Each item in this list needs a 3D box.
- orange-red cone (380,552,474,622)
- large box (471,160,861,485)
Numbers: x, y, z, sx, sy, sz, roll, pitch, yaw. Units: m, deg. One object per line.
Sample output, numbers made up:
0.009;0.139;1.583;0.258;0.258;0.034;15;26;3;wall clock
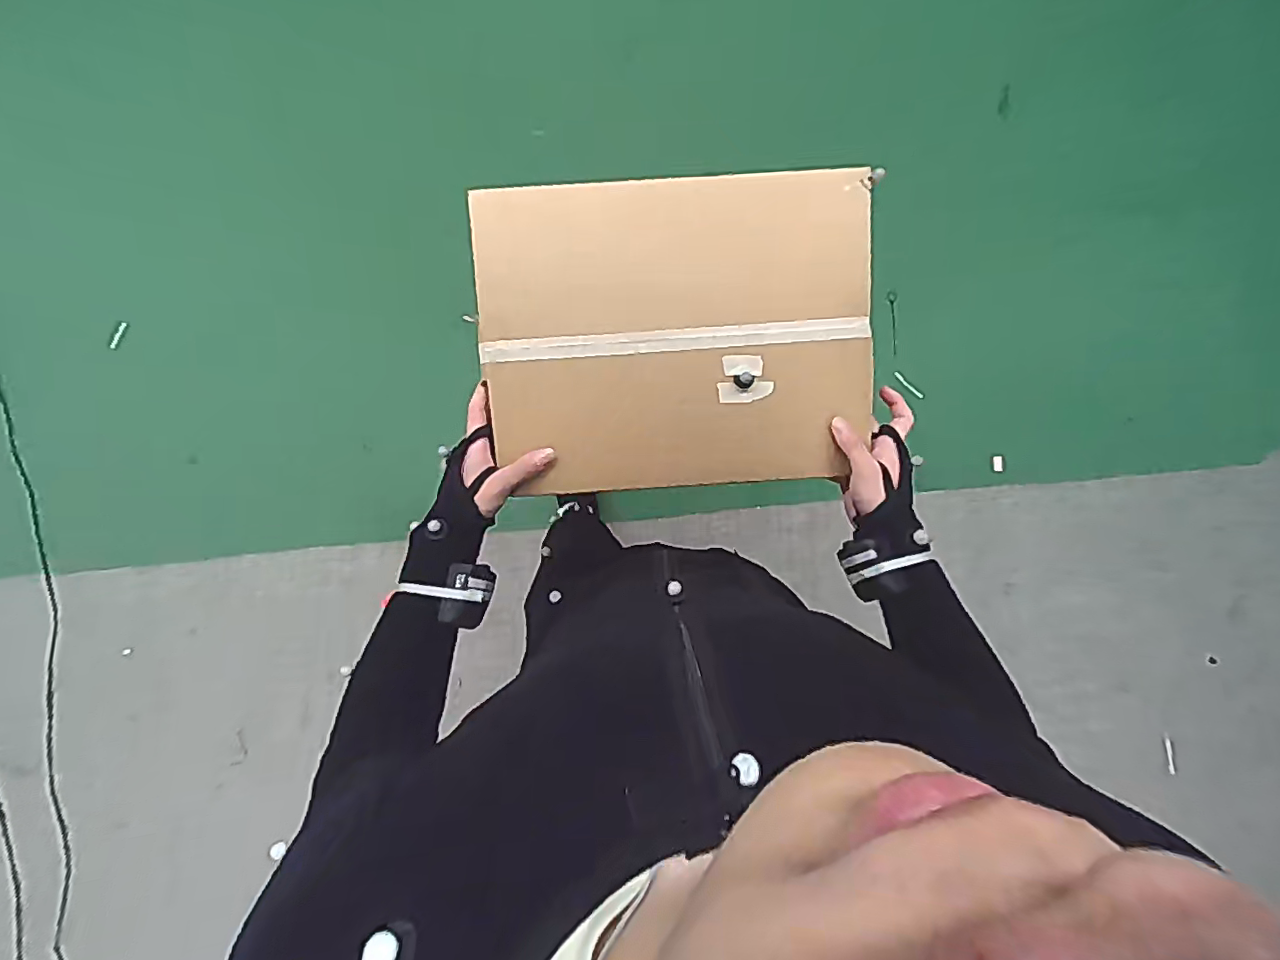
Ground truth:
-0.582;0.293;1.400;0.199;0.360;0.198;2;84;-2;orange-red cone
0.030;-0.182;0.718;0.408;0.320;0.320;-4;100;-1;large box
